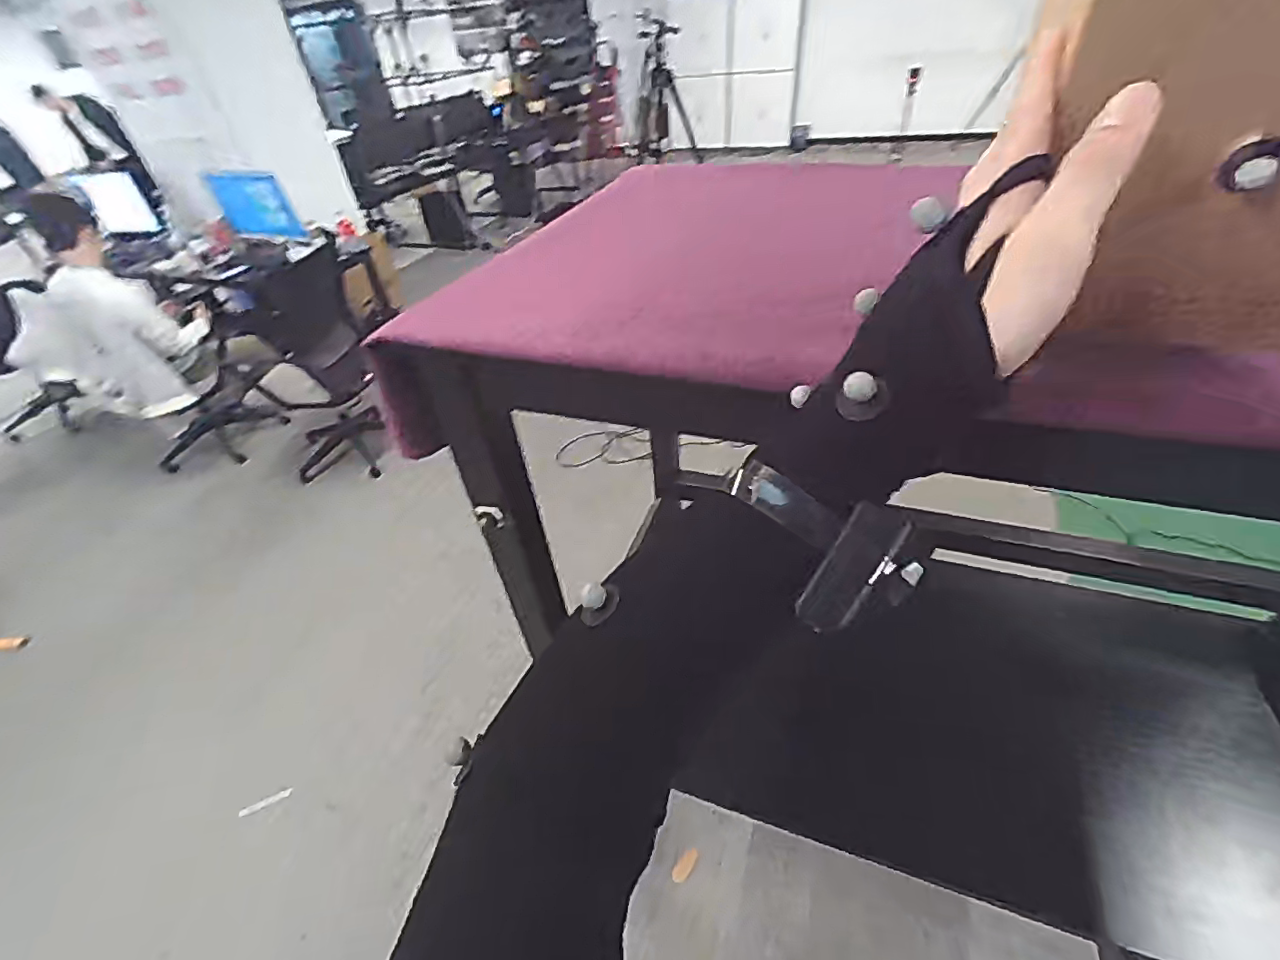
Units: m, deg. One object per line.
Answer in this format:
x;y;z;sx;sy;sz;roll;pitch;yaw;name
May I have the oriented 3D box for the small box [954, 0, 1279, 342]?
0.284;-0.190;0.278;0.179;0.176;0.168;11;56;23;small box
